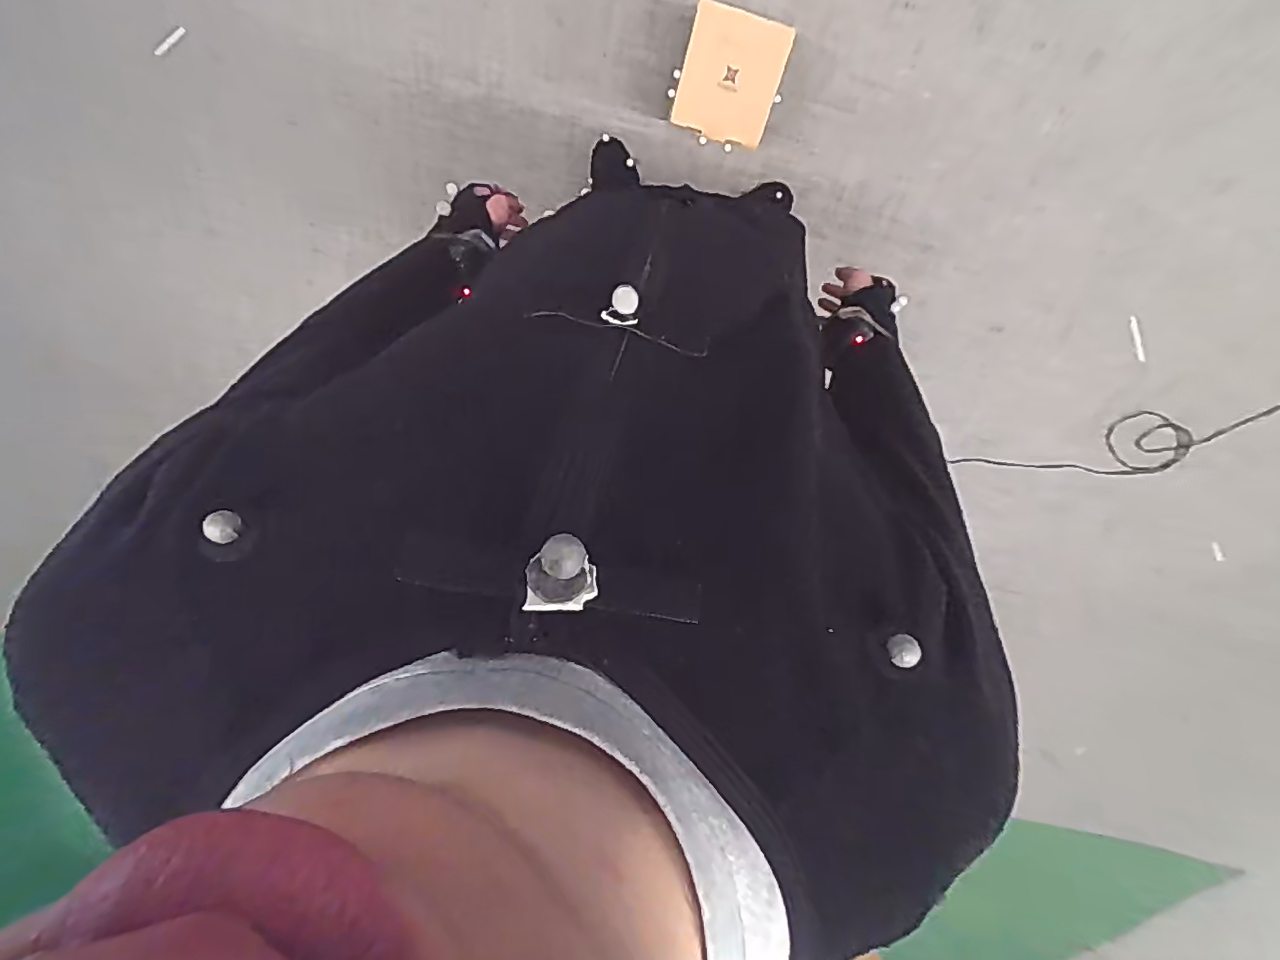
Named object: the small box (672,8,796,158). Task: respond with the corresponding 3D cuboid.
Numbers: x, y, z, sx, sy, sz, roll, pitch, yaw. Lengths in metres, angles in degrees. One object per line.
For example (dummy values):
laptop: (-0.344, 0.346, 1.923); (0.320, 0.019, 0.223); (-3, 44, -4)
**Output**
small box: (0.163, -0.712, 0.988); (0.168, 0.176, 0.179); (14, 122, -5)
